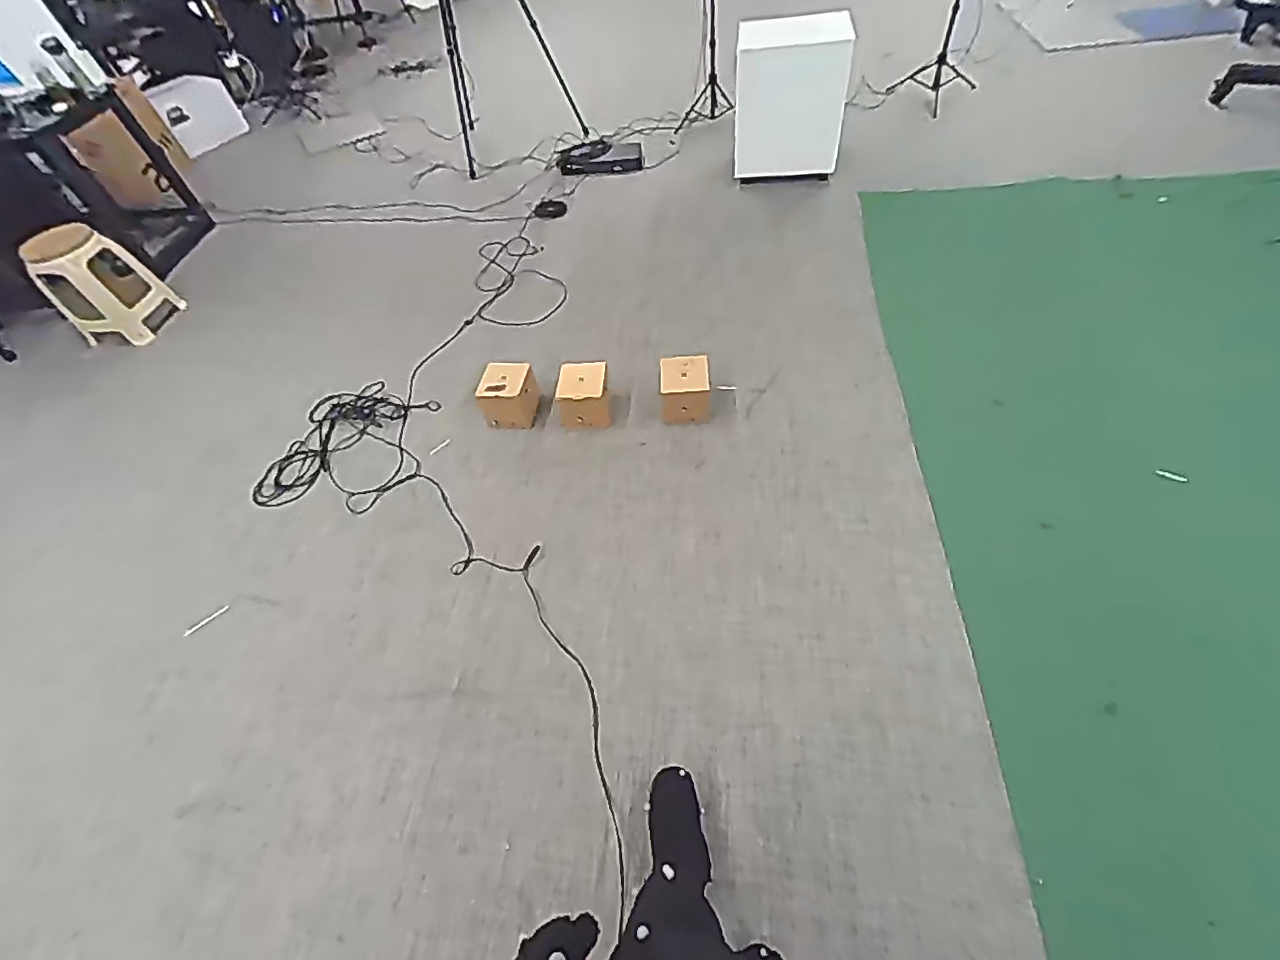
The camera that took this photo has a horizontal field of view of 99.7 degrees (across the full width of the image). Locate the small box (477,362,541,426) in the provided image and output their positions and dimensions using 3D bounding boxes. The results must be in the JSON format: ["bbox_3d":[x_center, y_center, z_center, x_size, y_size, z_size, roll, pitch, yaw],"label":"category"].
[{"bbox_3d":[-0.482,-0.320,2.023,0.168,0.176,0.179,3,54,10],"label":"small box"}]

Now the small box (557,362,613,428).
[{"bbox_3d":[-0.195,-0.310,1.976,0.168,0.176,0.179,-1,55,7],"label":"small box"}]

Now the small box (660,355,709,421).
[{"bbox_3d":[0.161,-0.322,1.933,0.168,0.176,0.179,-2,54,6],"label":"small box"}]
